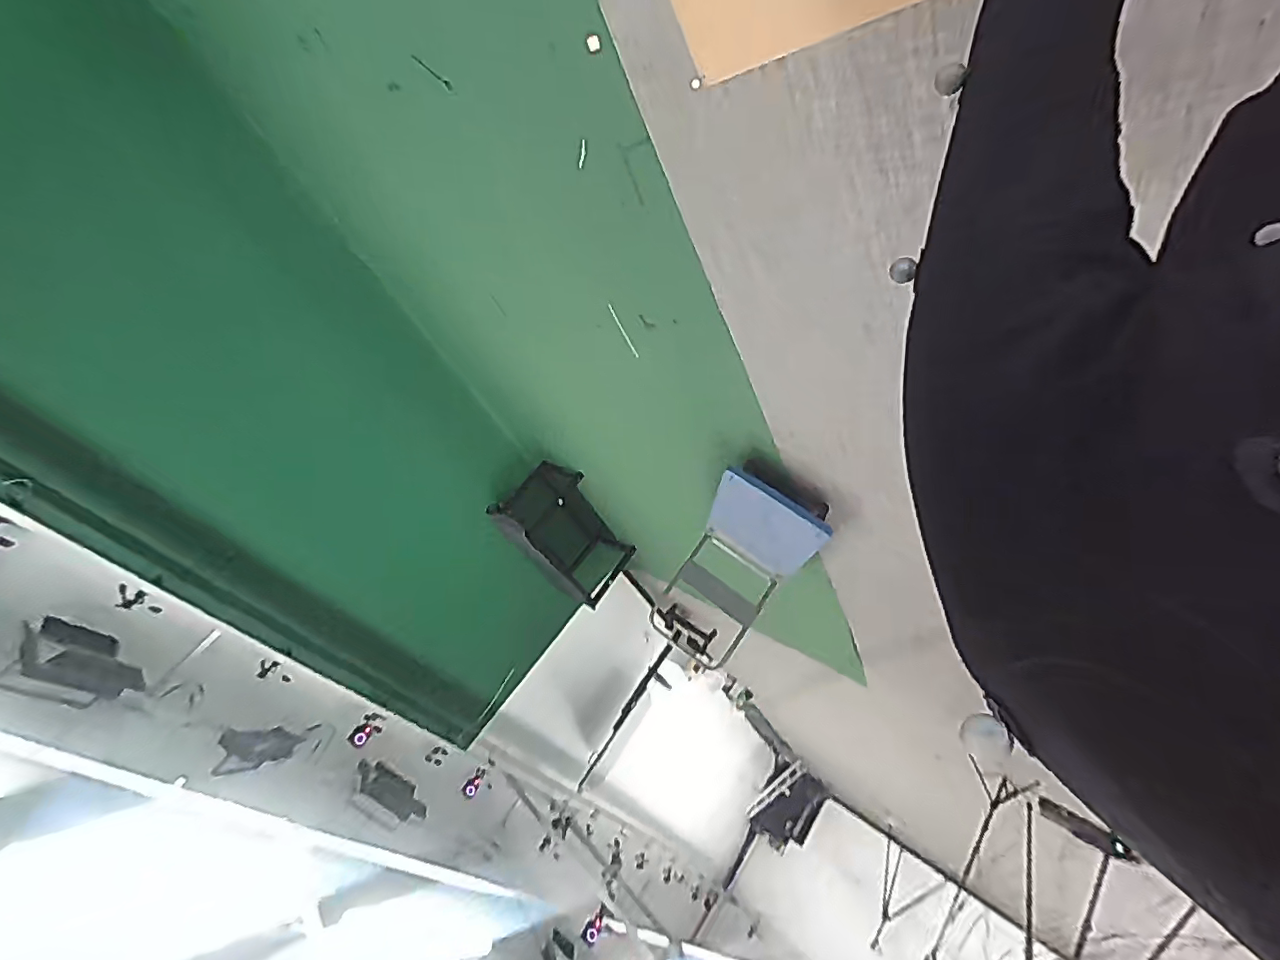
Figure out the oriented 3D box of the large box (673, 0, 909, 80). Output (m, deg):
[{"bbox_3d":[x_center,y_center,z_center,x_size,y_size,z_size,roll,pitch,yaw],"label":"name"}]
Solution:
[{"bbox_3d":[0.241,-0.746,0.595,0.408,0.320,0.320,21,155,46],"label":"large box"}]
